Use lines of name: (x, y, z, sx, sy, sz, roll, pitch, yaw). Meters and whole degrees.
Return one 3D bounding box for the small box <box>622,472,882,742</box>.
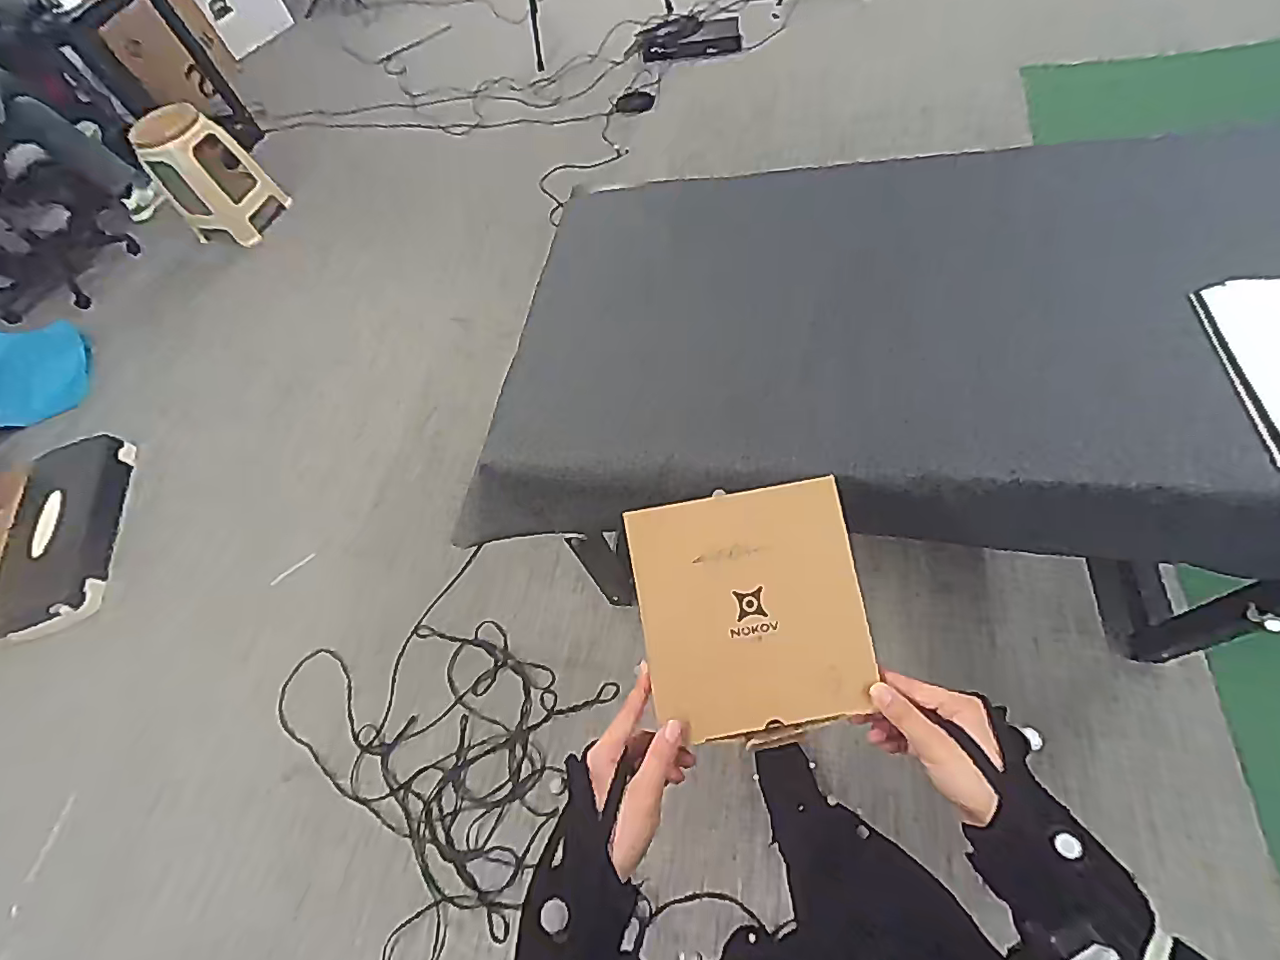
small box: (0.082, 0.102, 0.476, 0.168, 0.176, 0.179, -10, 81, -1)
